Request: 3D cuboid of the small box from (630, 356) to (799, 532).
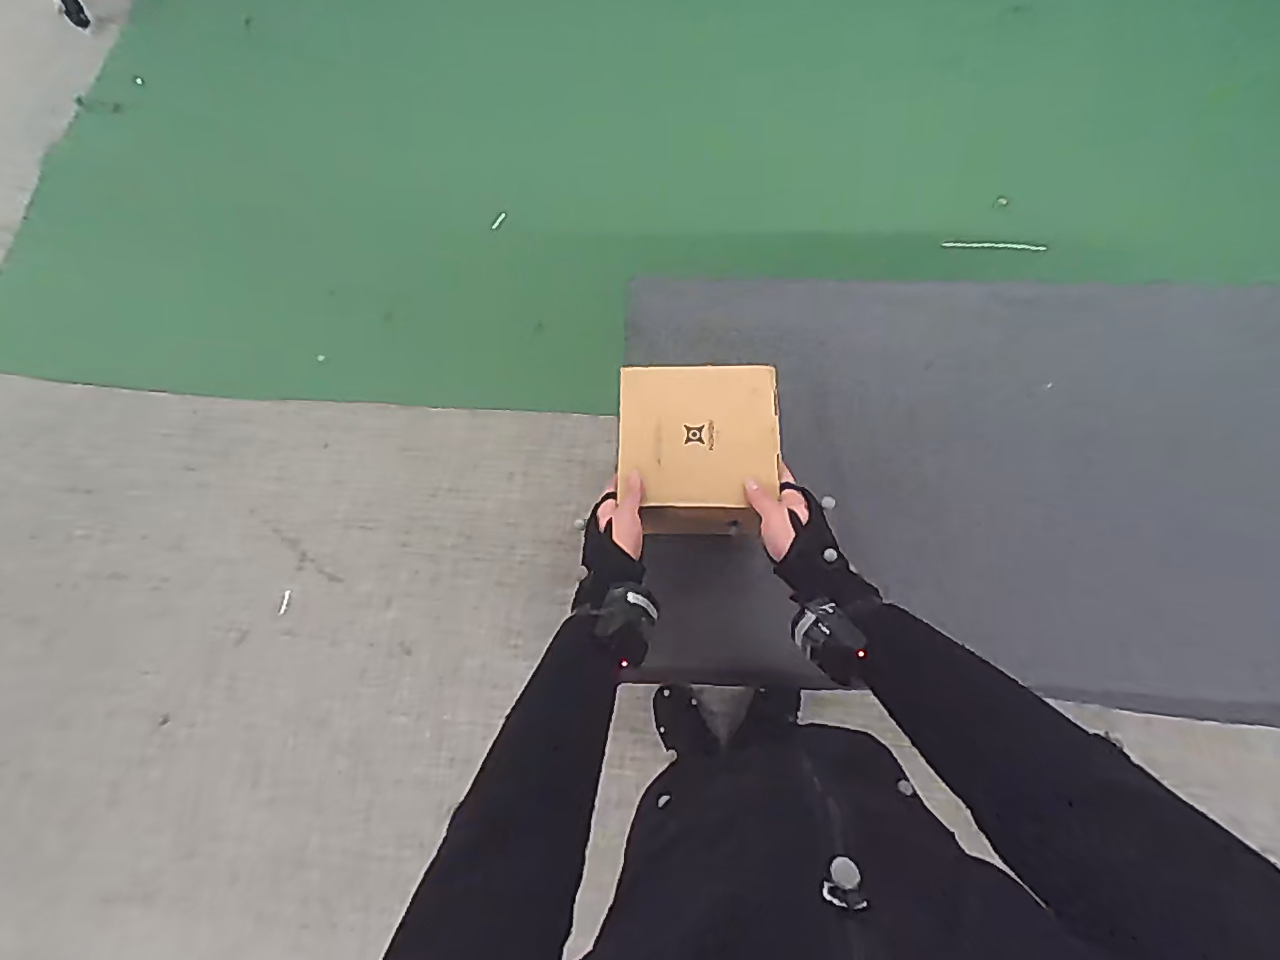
[{"bbox_3d":[0.081,-0.035,0.652,0.179,0.176,0.168,-1,72,3],"label":"small box"}]
